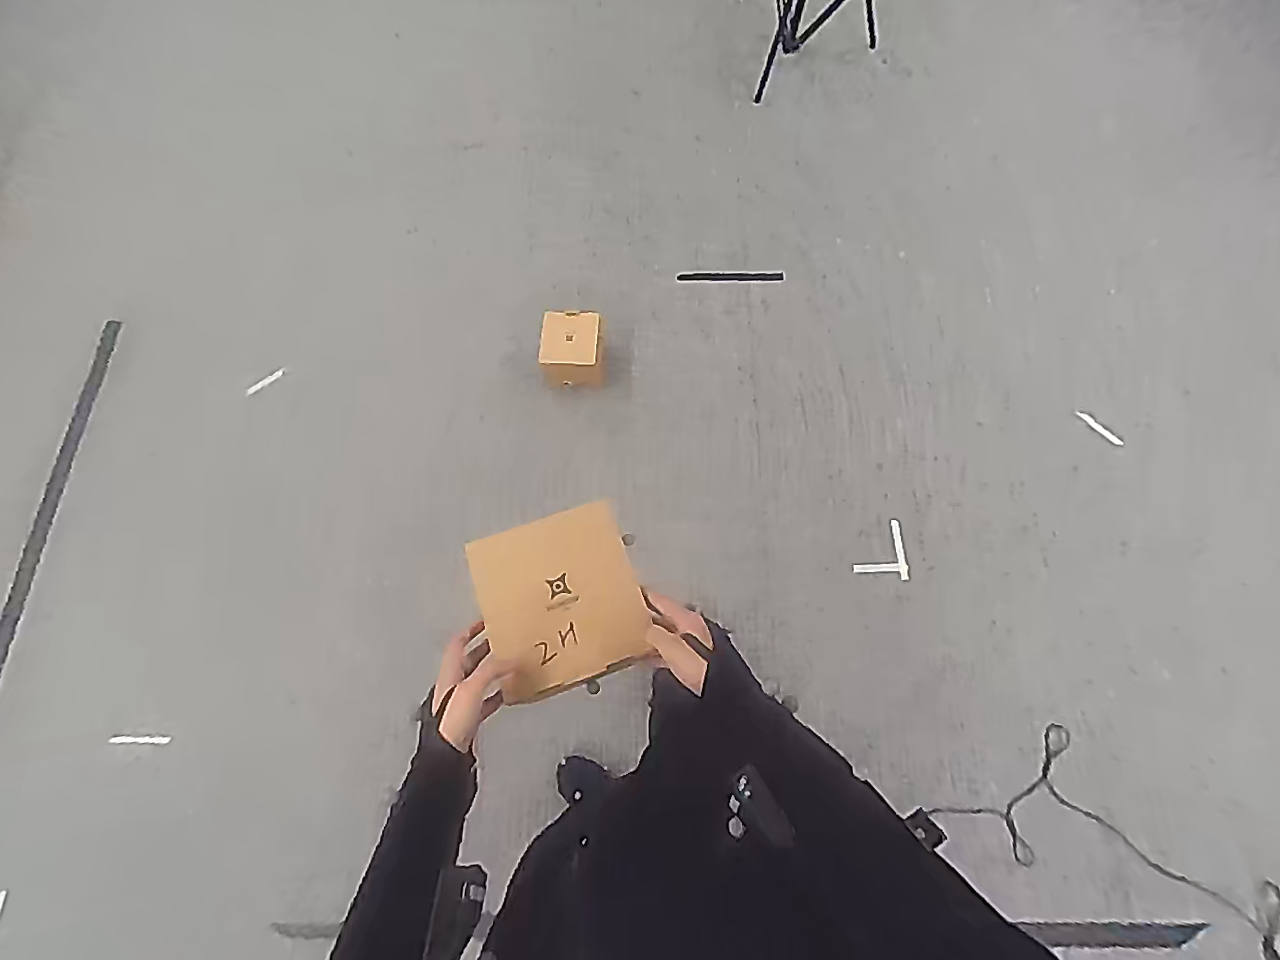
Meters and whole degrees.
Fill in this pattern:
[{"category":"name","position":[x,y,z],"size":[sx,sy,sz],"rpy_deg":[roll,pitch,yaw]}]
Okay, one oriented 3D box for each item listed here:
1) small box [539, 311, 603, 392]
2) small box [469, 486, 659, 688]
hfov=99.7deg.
[{"category":"small box","position":[-0.204,-0.388,1.647],"size":[0.168,0.176,0.179],"rpy_deg":[3,72,1]},{"category":"small box","position":[-0.087,0.134,0.645],"size":[0.168,0.176,0.179],"rpy_deg":[-18,70,-8]}]
